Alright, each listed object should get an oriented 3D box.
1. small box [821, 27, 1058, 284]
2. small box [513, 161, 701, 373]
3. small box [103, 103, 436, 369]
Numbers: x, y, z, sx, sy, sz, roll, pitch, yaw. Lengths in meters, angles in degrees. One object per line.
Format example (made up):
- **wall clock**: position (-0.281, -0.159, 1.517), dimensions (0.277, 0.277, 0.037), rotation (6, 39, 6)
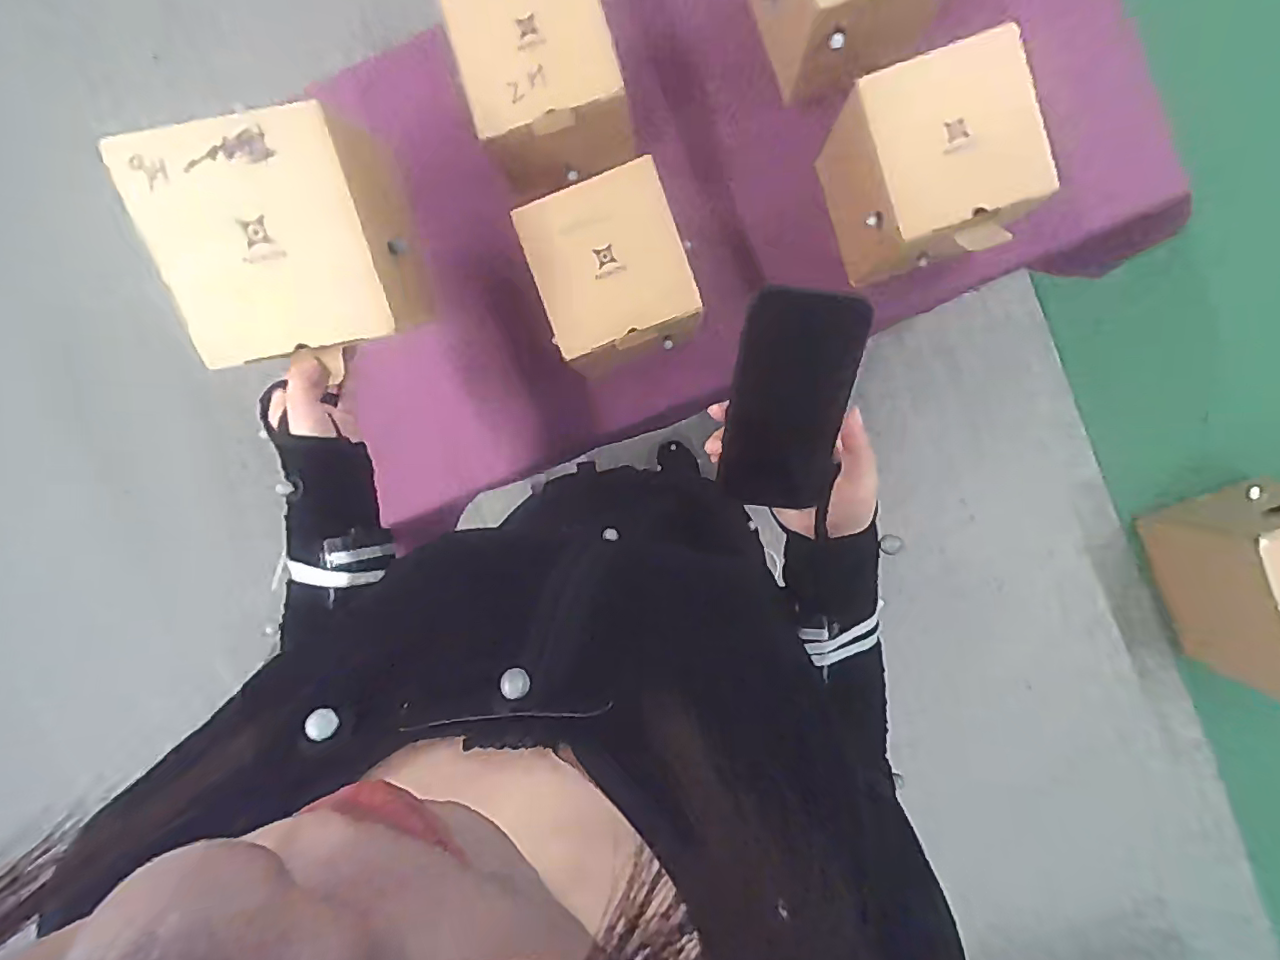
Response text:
- **small box**: position (0.330, -0.358, 0.634), dimensions (0.168, 0.176, 0.179), rotation (-18, 93, 5)
- **small box**: position (-0.030, -0.242, 0.669), dimensions (0.168, 0.176, 0.179), rotation (-20, 92, 4)
- **small box**: position (-0.310, -0.218, 0.505), dimensions (0.168, 0.176, 0.179), rotation (-12, 113, -2)
